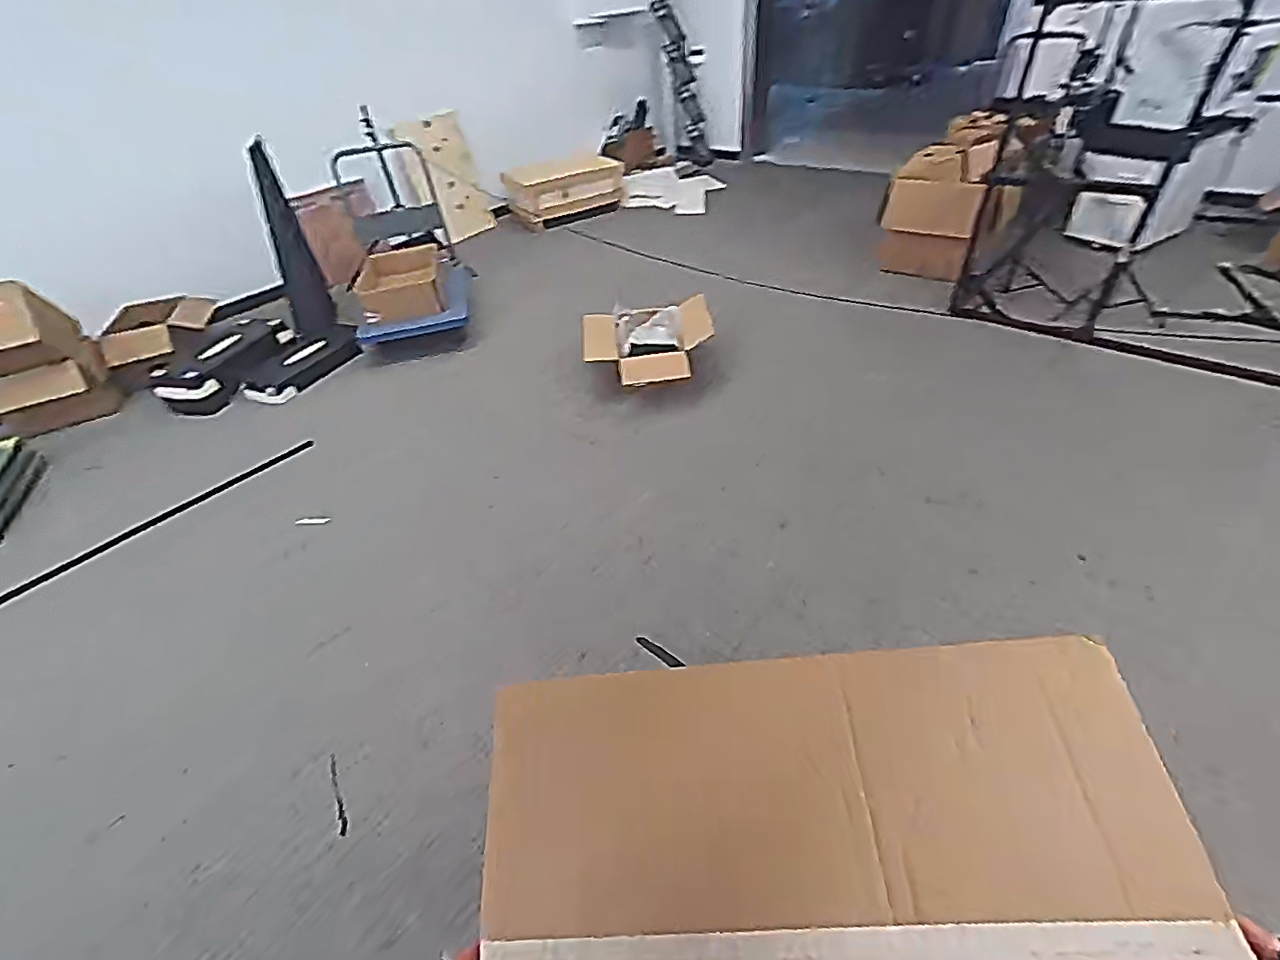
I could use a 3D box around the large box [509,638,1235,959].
[{"bbox_3d":[0.137,0.337,0.437,0.408,0.320,0.320,-8,61,7],"label":"large box"}]
